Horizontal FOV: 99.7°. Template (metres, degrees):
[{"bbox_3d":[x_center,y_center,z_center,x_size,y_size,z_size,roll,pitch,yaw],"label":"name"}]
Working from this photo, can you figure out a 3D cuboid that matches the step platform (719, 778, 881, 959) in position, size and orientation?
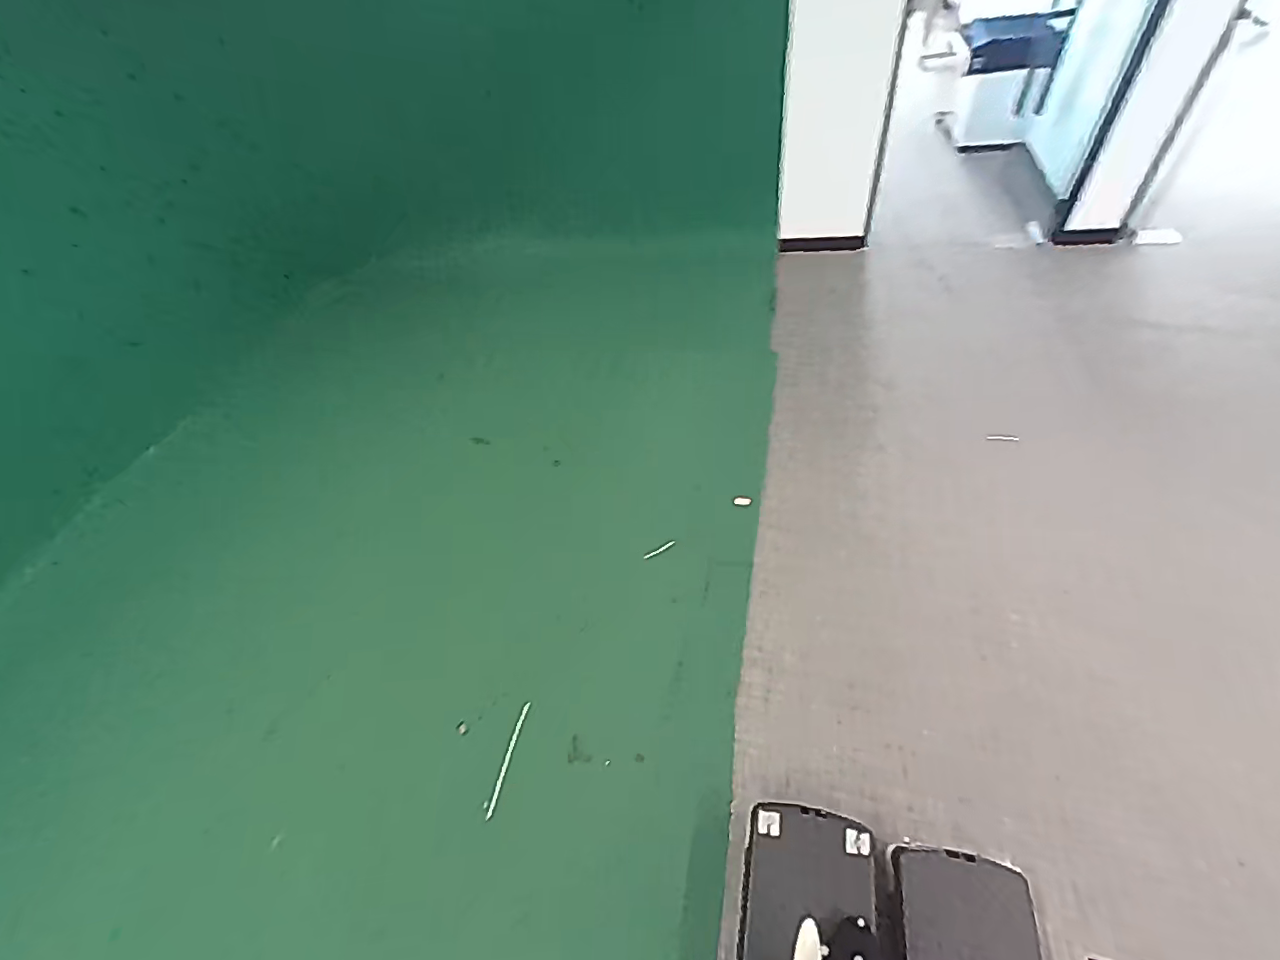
[{"bbox_3d":[0.281,0.943,0.976,0.286,0.204,0.684,5,53,13],"label":"step platform"}]
